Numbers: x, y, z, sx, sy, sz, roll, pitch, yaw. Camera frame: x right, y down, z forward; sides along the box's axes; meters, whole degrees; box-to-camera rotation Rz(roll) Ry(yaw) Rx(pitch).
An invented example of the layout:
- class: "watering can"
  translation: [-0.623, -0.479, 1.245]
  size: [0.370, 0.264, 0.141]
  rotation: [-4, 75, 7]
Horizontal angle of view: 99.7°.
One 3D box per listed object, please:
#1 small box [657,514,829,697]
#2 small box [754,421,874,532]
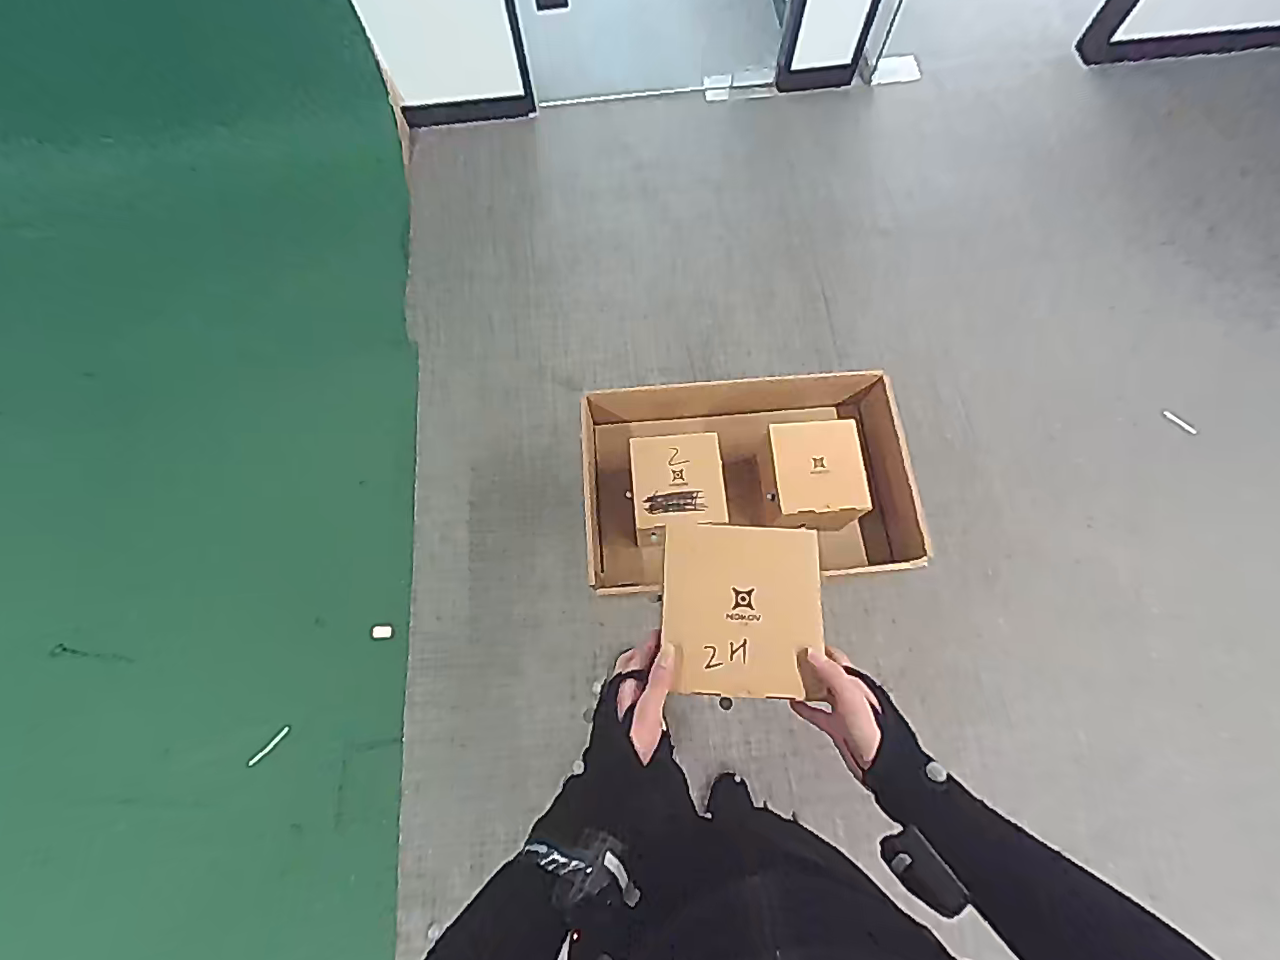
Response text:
- class: "small box"
  translation: [0.108, 0.152, 0.628]
  size: [0.168, 0.176, 0.179]
  rotation: [4, 70, 1]
- class: "small box"
  translation: [0.328, 0.000, 1.056]
  size: [0.168, 0.176, 0.179]
  rotation: [-3, 72, -2]
